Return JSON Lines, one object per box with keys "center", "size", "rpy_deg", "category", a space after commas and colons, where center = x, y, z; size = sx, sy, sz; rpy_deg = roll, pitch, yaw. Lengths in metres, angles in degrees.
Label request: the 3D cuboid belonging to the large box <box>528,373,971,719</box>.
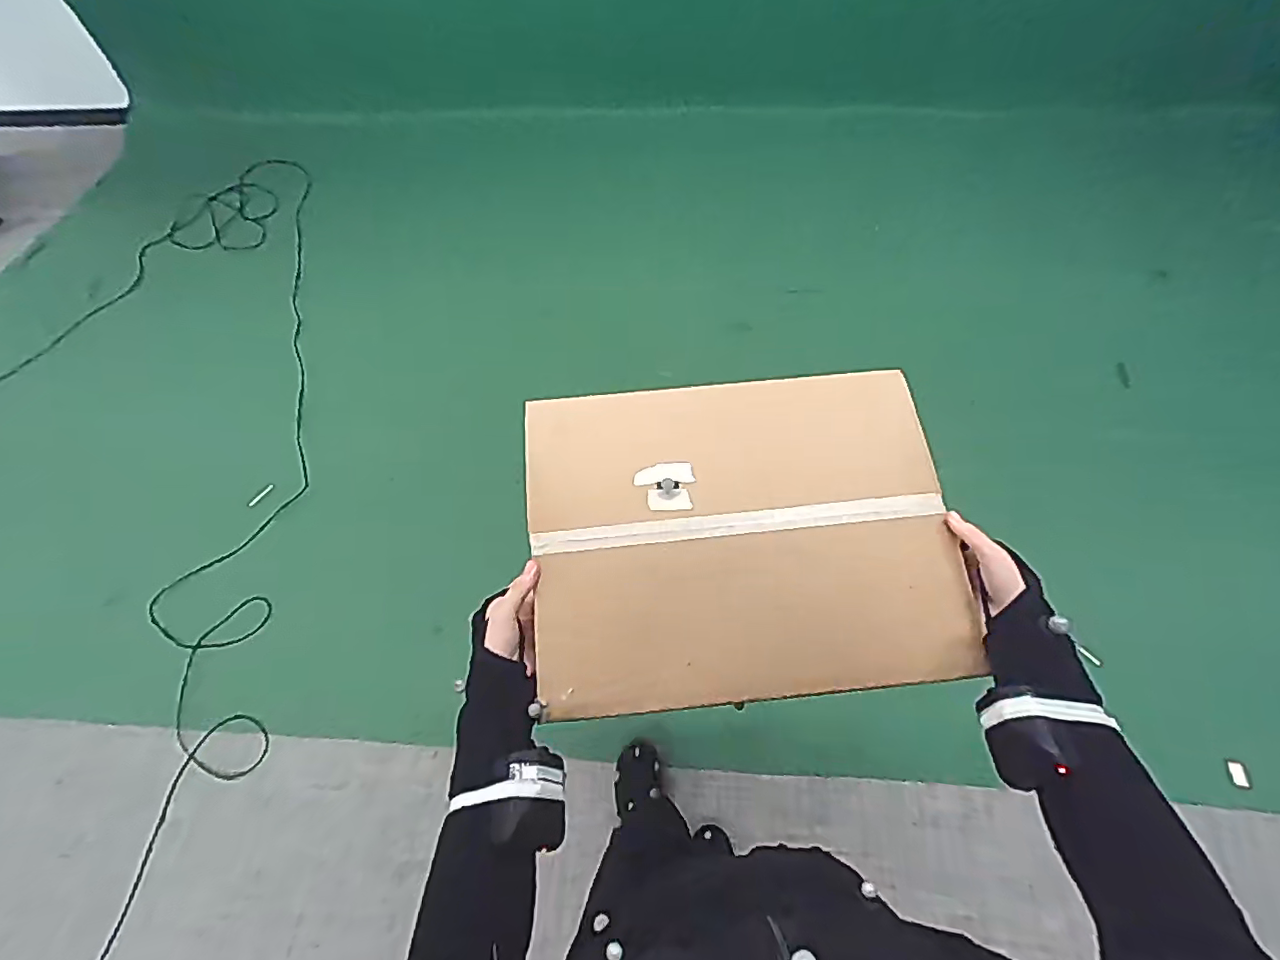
{"center": [0.097, 0.096, 0.680], "size": [0.408, 0.320, 0.320], "rpy_deg": [-6, 70, -1], "category": "large box"}
